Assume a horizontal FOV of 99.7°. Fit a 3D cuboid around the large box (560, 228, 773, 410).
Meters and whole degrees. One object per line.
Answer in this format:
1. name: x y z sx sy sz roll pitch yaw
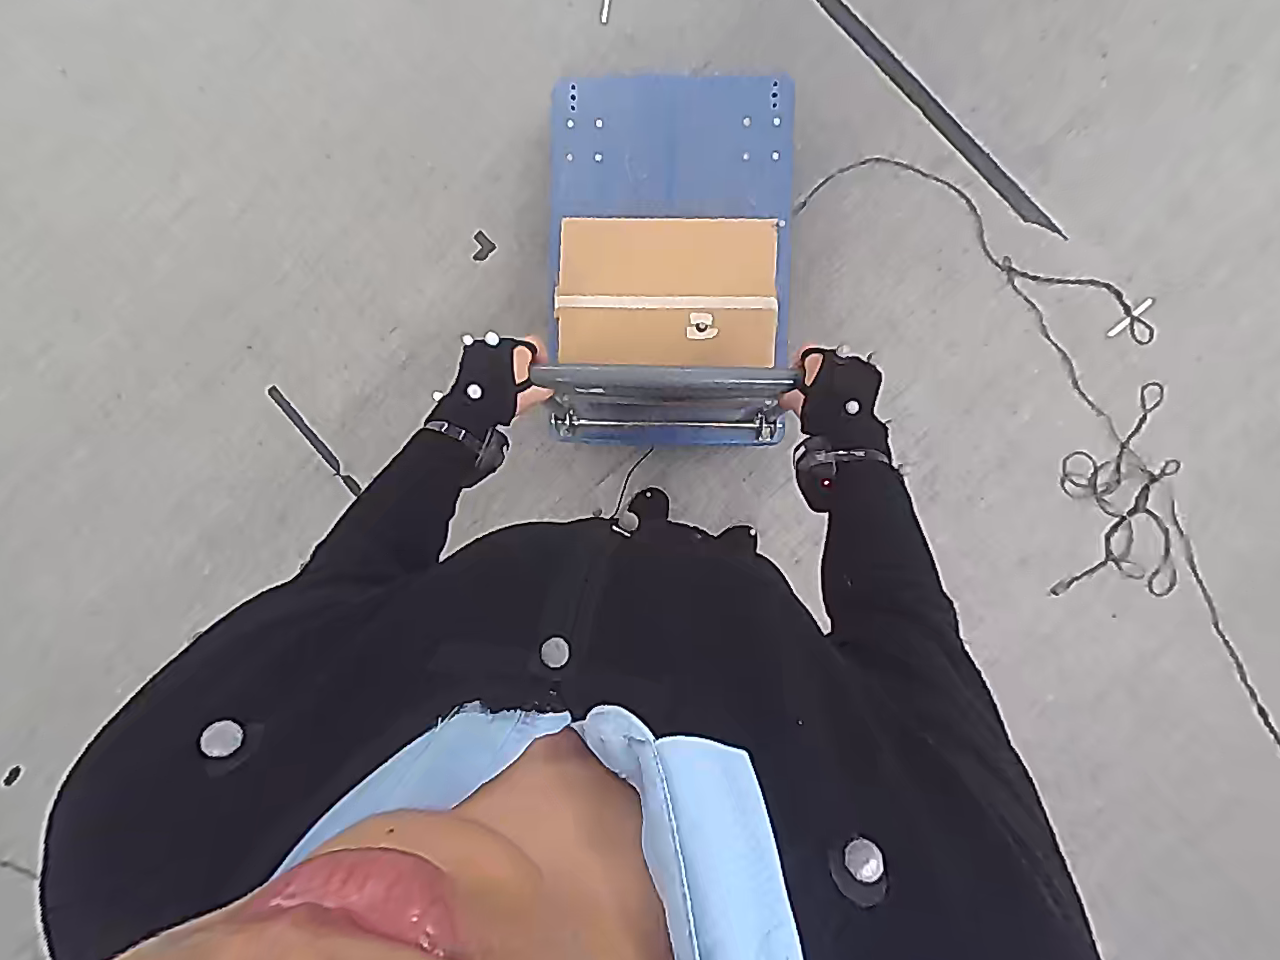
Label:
1. large box: 0.051 -0.320 1.161 0.408 0.320 0.320 1 92 2
